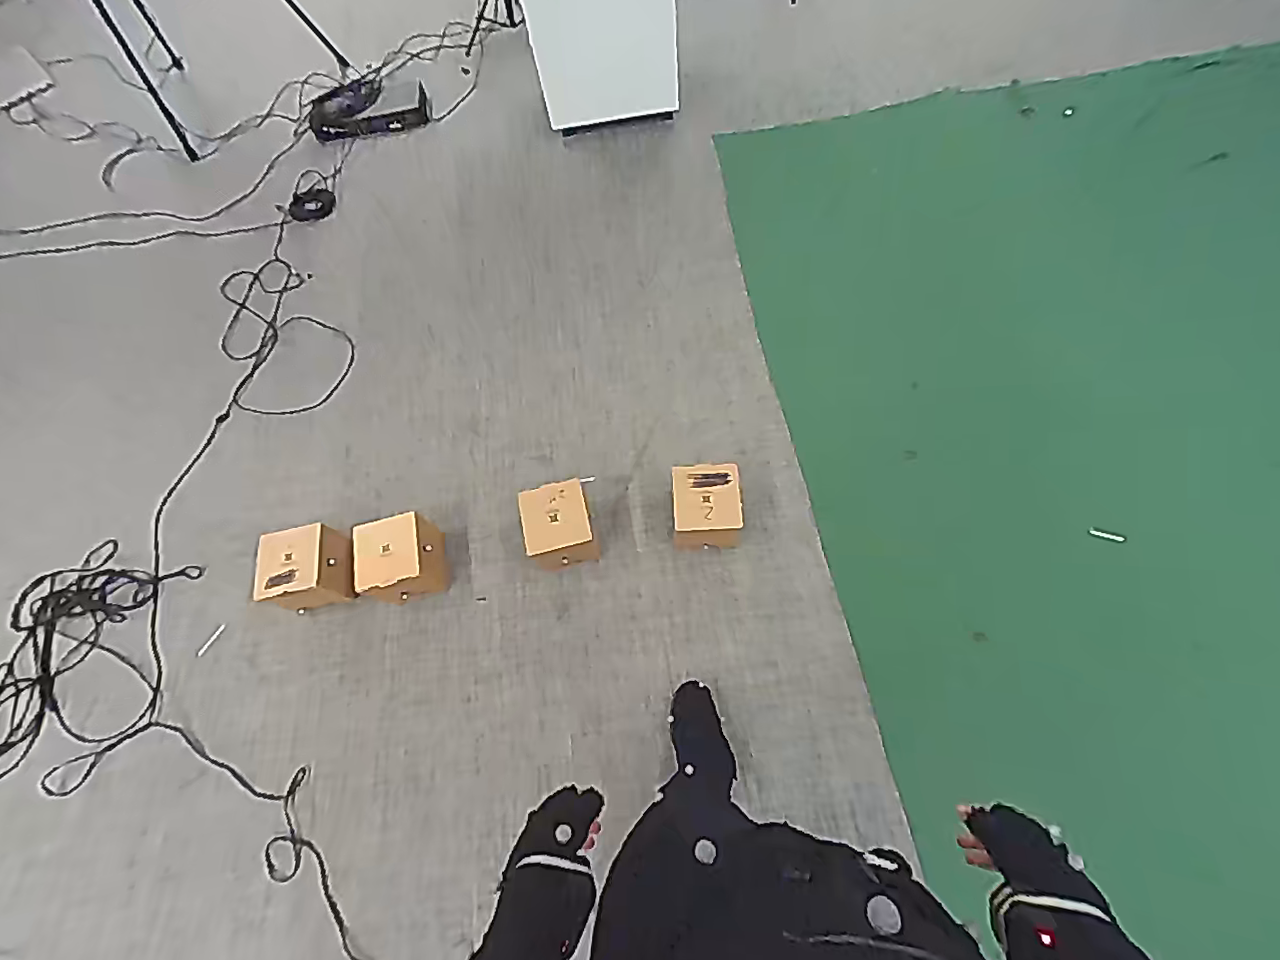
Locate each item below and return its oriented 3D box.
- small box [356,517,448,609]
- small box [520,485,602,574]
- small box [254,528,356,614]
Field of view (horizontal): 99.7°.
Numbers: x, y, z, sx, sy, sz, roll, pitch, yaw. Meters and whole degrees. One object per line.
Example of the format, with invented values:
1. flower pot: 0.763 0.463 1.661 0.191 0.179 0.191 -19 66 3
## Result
1. small box: -0.621 0.221 1.419 0.168 0.176 0.179 -15 66 -1
2. small box: -0.203 0.138 1.414 0.168 0.176 0.179 -14 66 -2
3. small box: -0.875 0.249 1.431 0.168 0.176 0.179 -12 64 0
